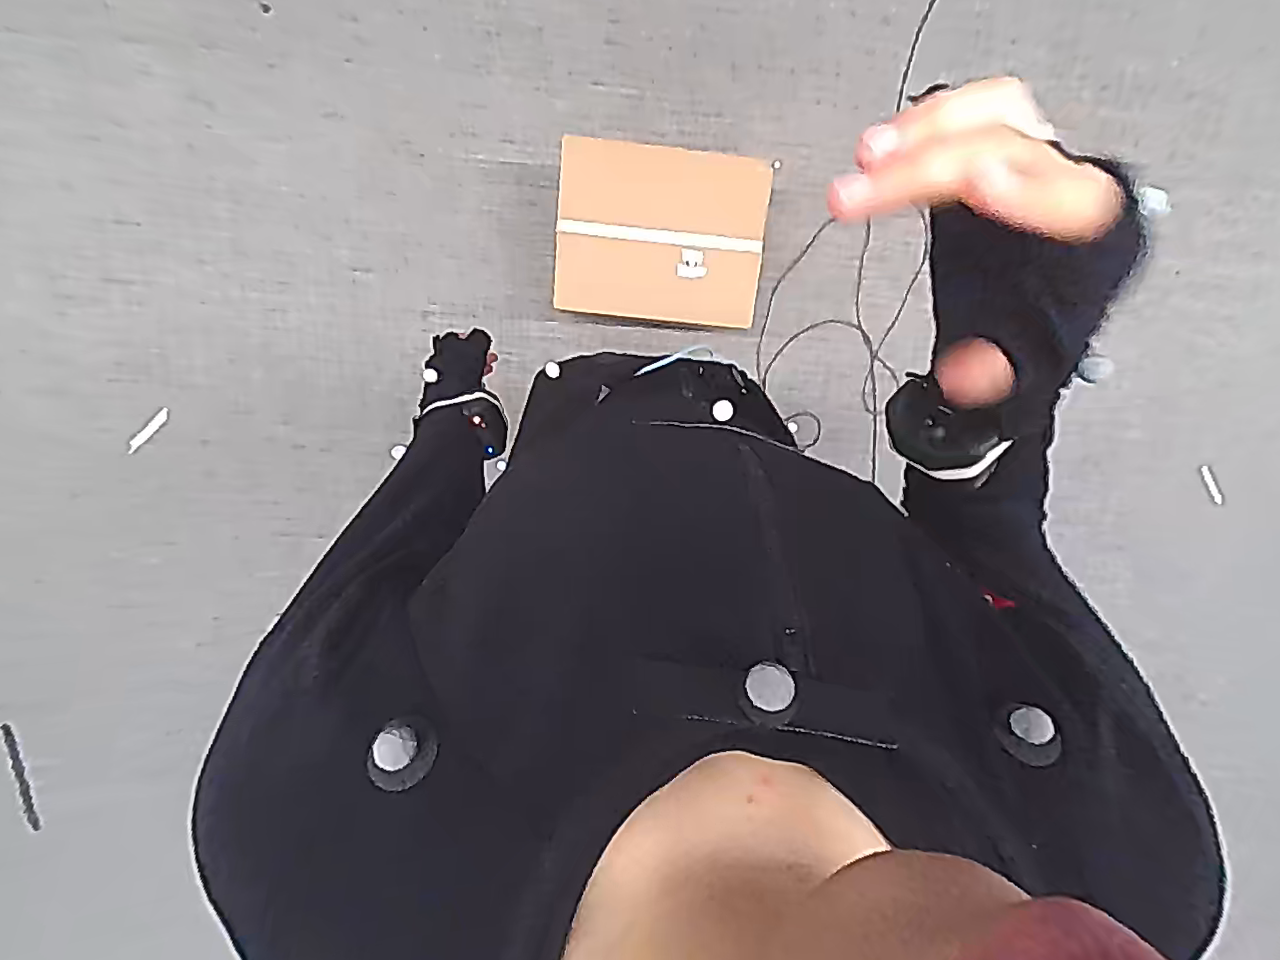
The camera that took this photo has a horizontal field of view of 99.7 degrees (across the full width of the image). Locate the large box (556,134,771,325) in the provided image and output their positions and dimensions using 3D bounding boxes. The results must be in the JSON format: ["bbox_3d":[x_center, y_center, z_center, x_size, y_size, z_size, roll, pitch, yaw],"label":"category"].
[{"bbox_3d":[0.032,-0.525,1.203,0.408,0.320,0.320,5,106,-4],"label":"large box"}]
